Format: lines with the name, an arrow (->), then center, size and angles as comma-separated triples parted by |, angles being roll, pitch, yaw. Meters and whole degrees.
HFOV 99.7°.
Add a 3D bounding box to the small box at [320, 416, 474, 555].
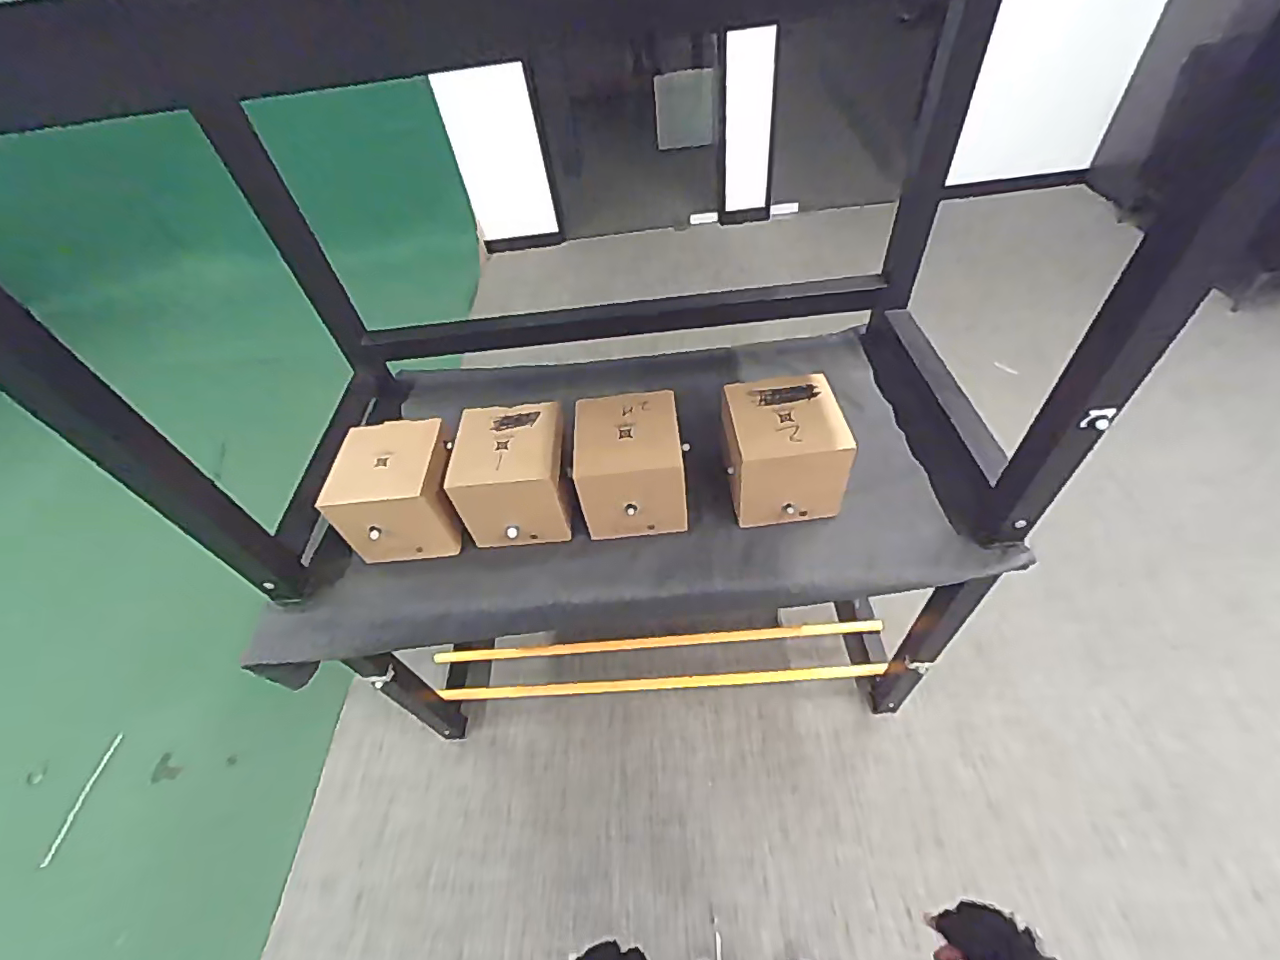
small box -> -0.399, 0.016, 0.925 | 0.168, 0.176, 0.179 | -5, 48, 3
